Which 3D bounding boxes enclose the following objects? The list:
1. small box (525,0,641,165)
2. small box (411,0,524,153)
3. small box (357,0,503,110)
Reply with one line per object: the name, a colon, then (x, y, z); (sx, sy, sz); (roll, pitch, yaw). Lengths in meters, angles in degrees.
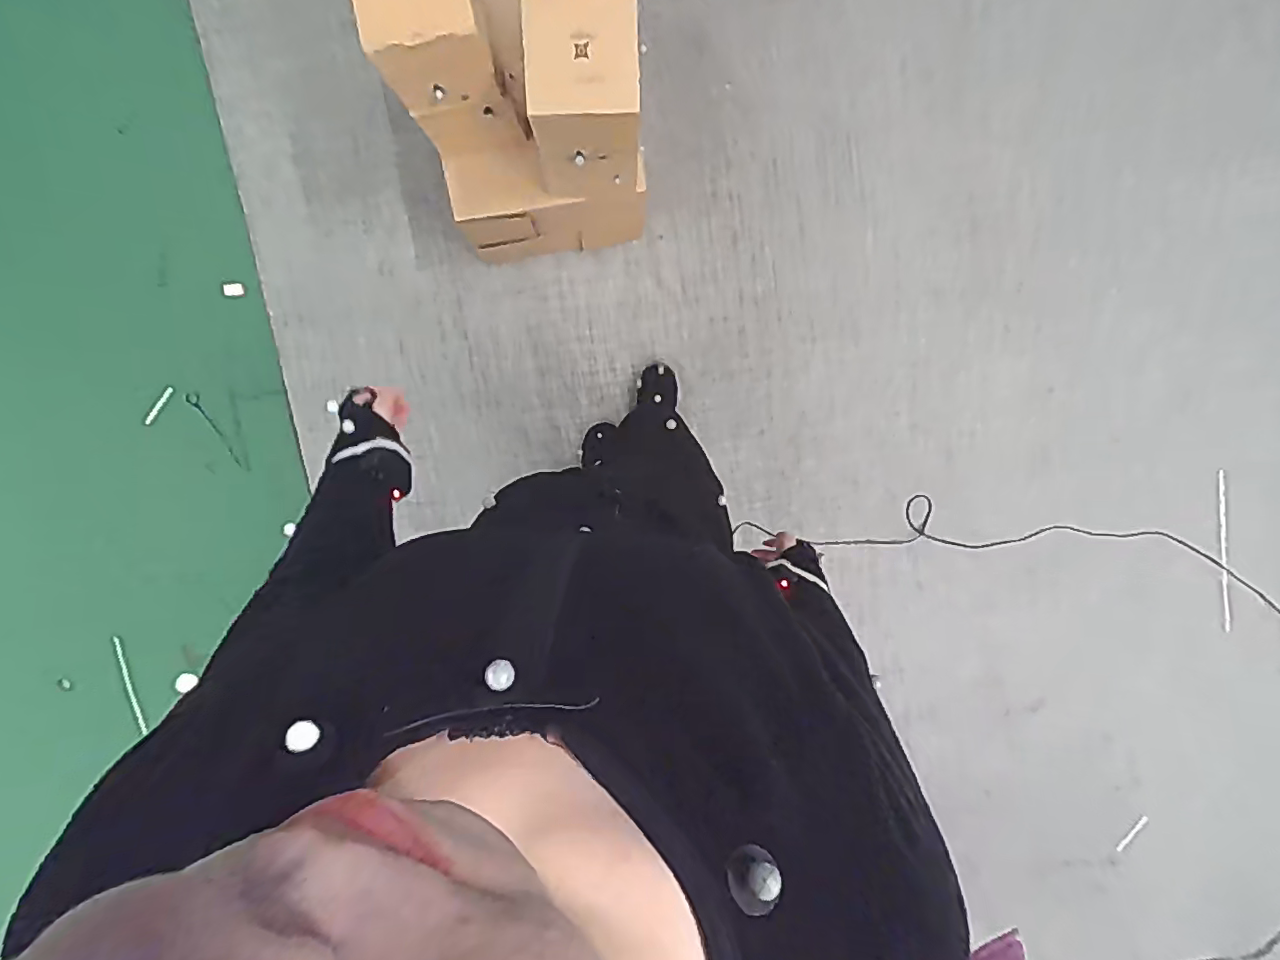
small box: (-0.084, -0.624, 0.847); (0.168, 0.176, 0.179); (-1, 98, -1)
small box: (-0.321, -0.738, 0.996); (0.179, 0.176, 0.168); (-11, 96, 1)
small box: (-0.322, -0.717, 0.834); (0.168, 0.176, 0.179); (-9, 97, 1)
